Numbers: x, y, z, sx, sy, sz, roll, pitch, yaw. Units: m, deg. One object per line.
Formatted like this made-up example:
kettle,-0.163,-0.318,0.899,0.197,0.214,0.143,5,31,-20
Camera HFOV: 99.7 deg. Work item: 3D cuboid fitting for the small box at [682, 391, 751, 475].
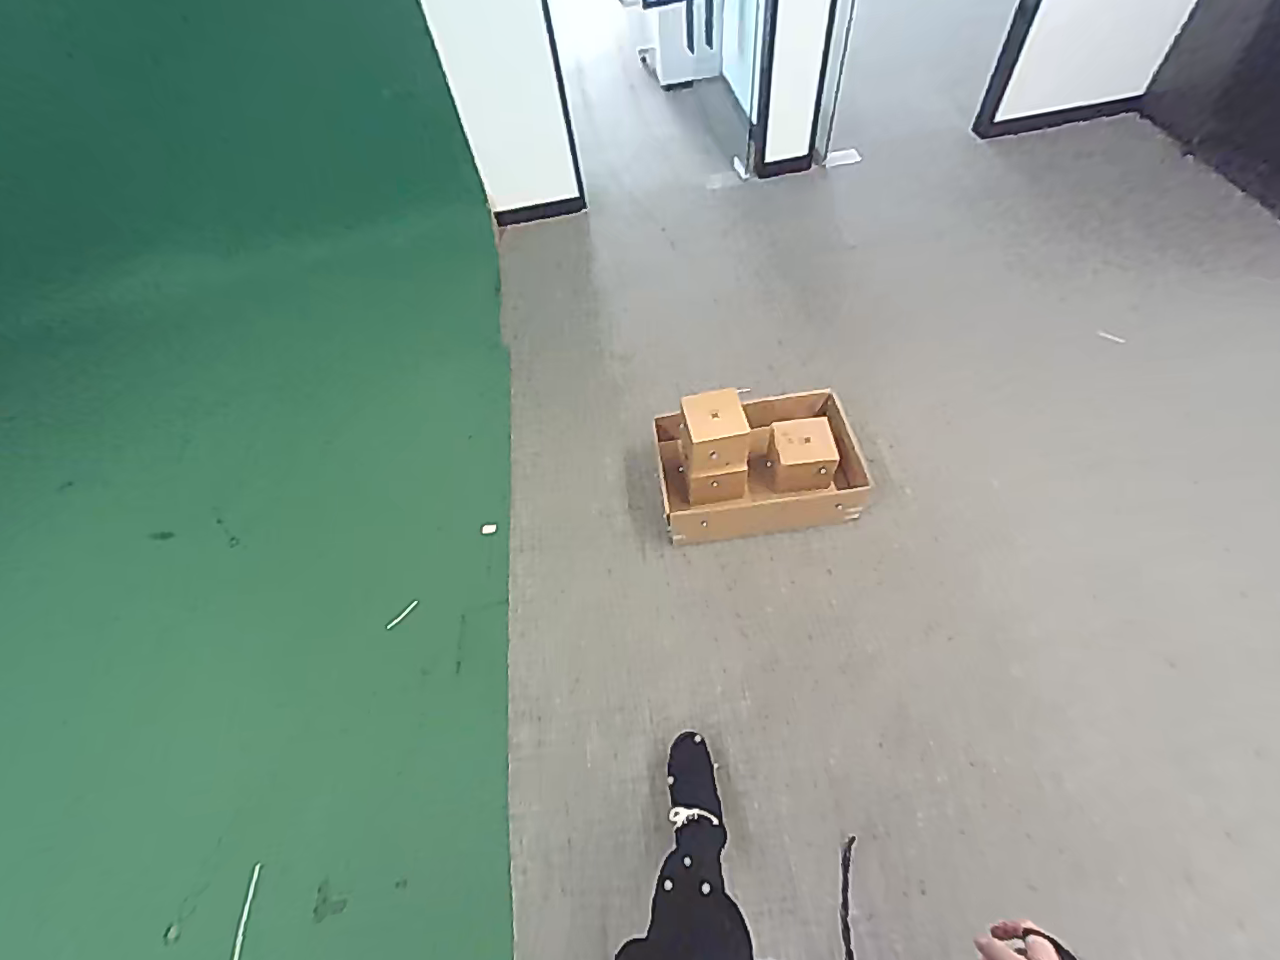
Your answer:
small box,0.225,-0.131,1.602,0.168,0.176,0.179,-11,55,-1

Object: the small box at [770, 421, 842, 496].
small box,0.520,-0.066,1.715,0.179,0.176,0.168,-6,56,5
